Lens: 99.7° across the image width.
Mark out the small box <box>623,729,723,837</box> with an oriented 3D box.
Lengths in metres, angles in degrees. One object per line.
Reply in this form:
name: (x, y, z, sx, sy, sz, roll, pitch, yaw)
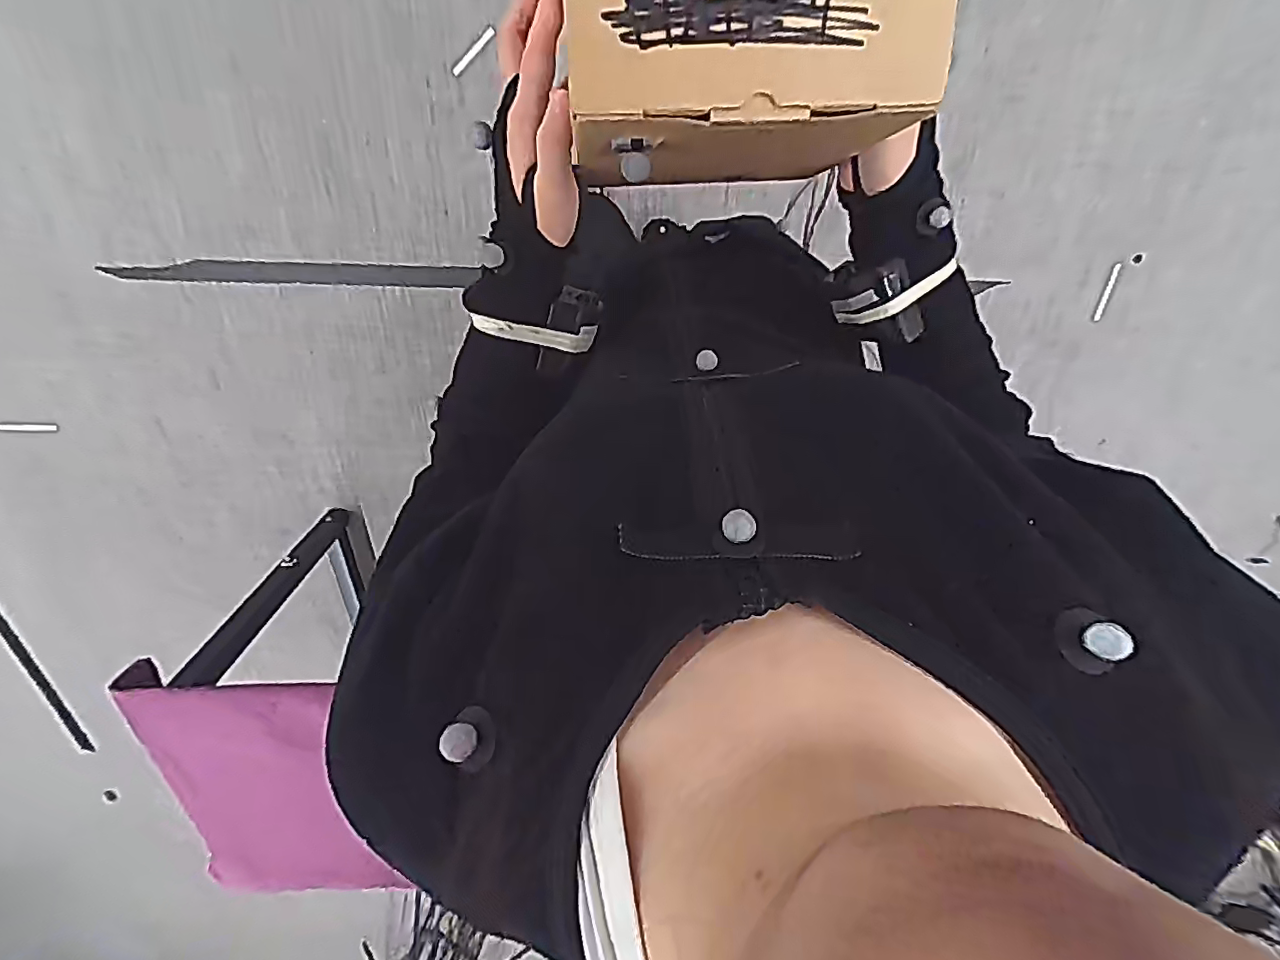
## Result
small box: (0.055, 0.585, 0.989, 0.168, 0.176, 0.179, -3, 118, -1)
